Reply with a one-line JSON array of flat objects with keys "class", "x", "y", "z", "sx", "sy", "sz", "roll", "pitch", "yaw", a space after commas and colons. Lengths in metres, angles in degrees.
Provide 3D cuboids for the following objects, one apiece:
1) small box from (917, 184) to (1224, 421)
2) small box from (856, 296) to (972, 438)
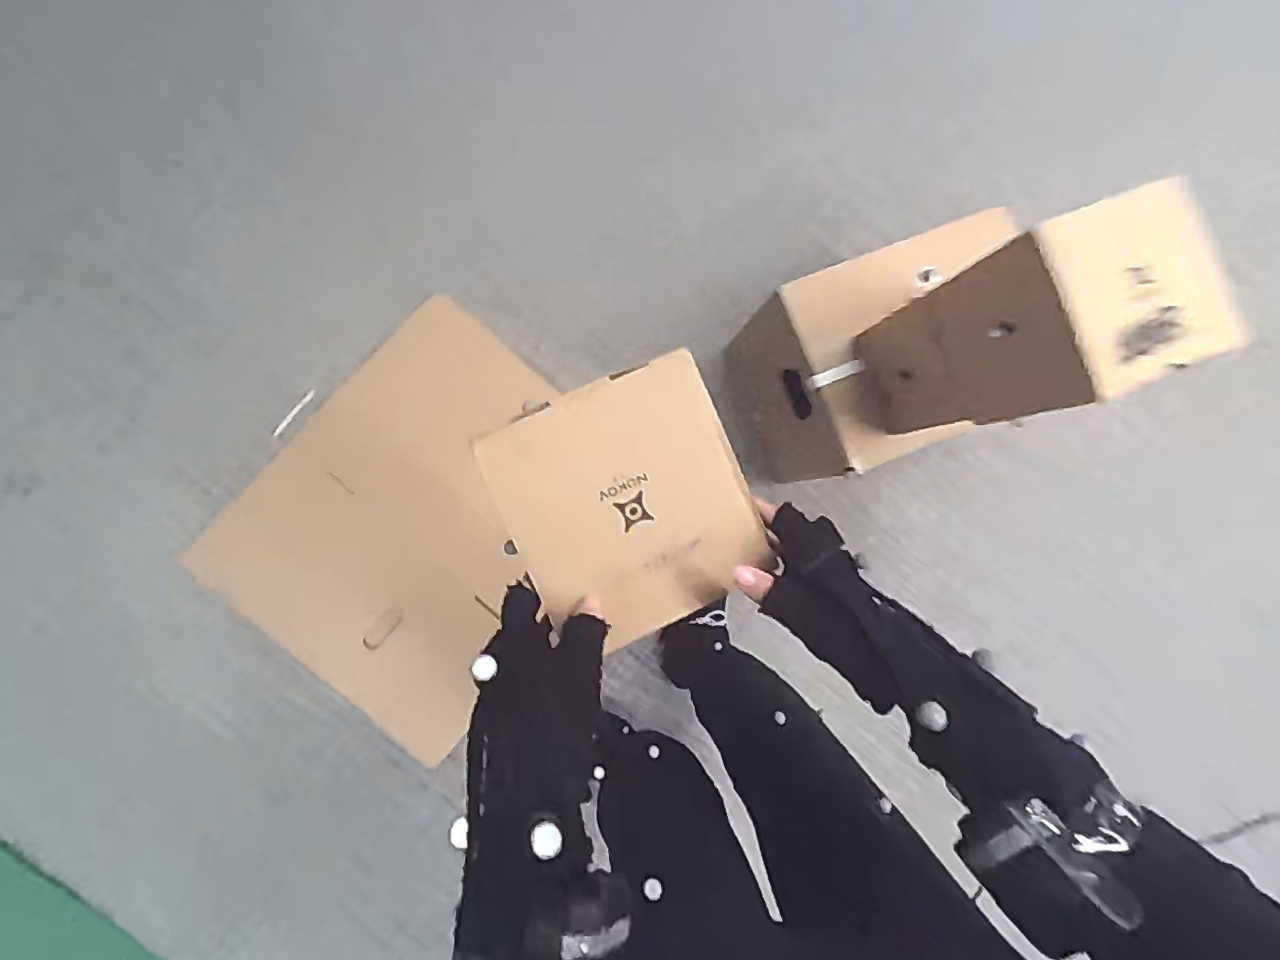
[{"class": "small box", "x": 0.448, "y": -0.174, "z": 0.593, "sx": 0.168, "sy": 0.176, "sz": 0.179, "roll": -21, "pitch": 88, "yaw": -7}, {"class": "small box", "x": 0.434, "y": -0.174, "z": 0.760, "sx": 0.179, "sy": 0.176, "sz": 0.168, "roll": -27, "pitch": 88, "yaw": -7}]
